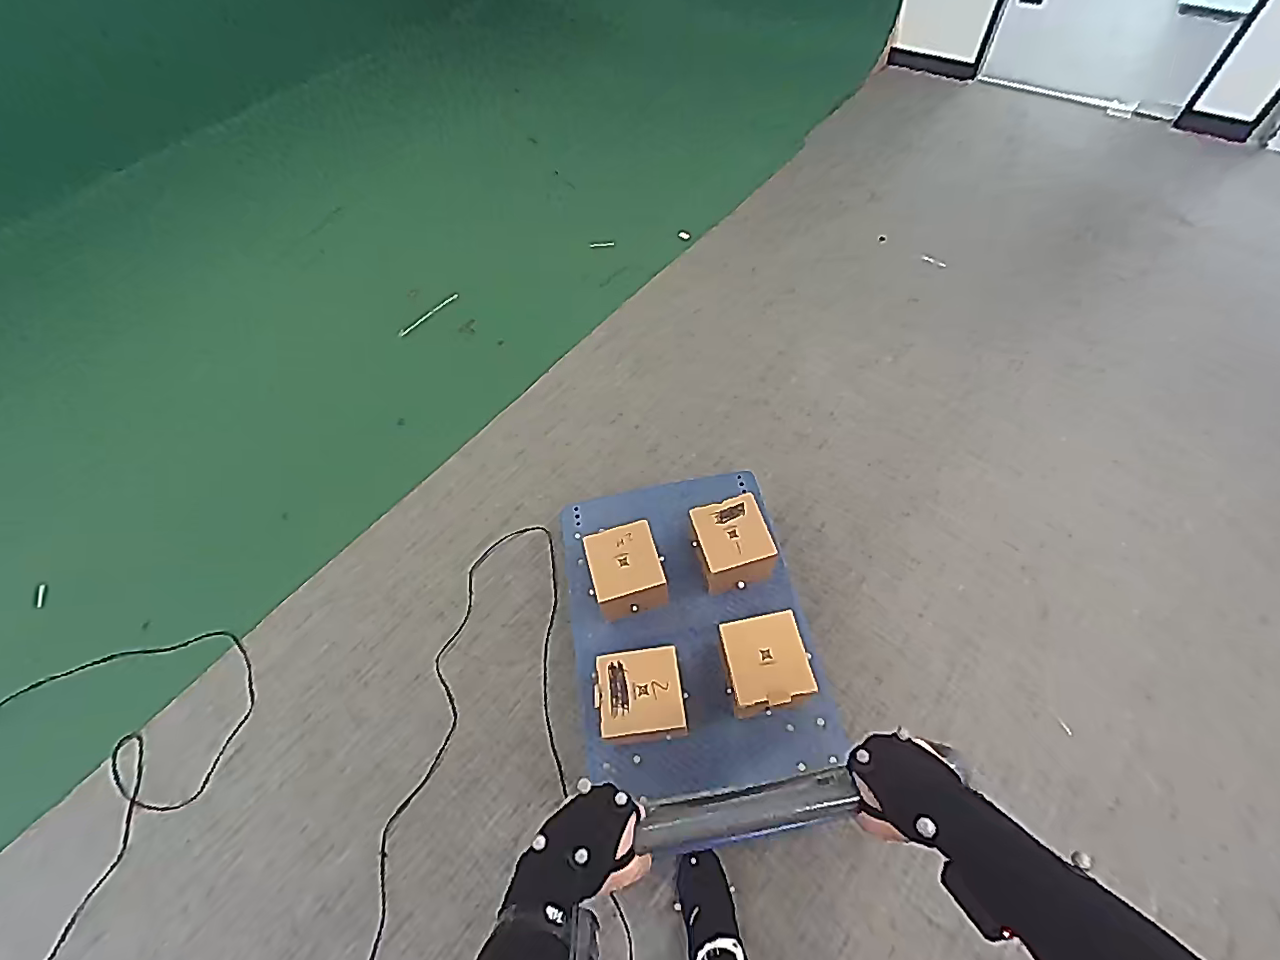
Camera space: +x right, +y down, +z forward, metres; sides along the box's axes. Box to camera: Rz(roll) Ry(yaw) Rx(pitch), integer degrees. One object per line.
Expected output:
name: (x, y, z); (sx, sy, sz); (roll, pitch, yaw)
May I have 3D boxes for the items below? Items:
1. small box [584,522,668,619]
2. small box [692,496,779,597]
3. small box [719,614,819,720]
small box: (-0.031, 0.232, 1.346); (0.168, 0.176, 0.179); (-15, 59, -4)
small box: (0.231, 0.169, 1.358); (0.168, 0.176, 0.179); (-15, 60, -3)
small box: (0.276, 0.419, 1.204); (0.168, 0.176, 0.179); (-11, 59, -1)
